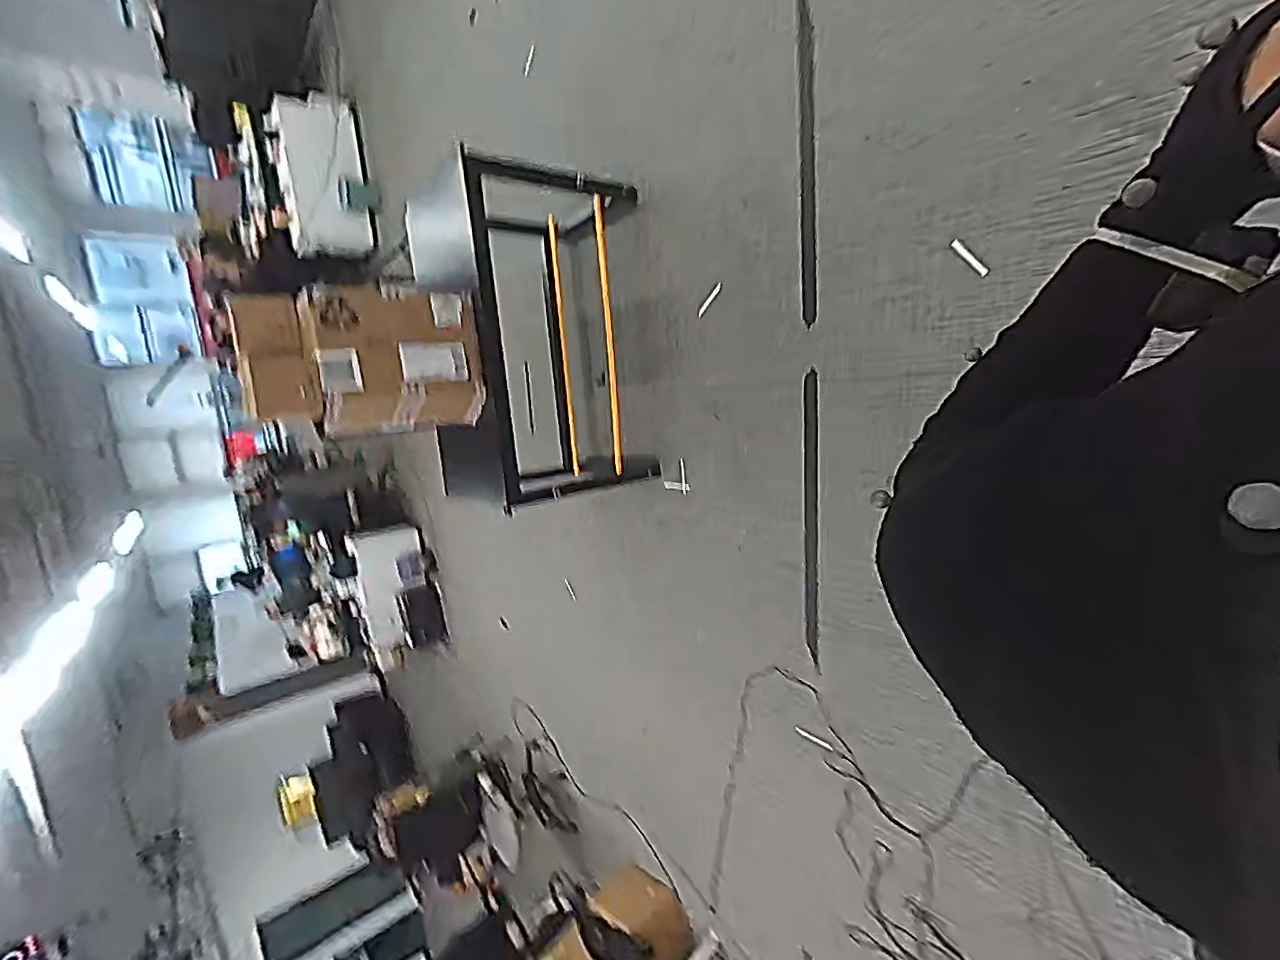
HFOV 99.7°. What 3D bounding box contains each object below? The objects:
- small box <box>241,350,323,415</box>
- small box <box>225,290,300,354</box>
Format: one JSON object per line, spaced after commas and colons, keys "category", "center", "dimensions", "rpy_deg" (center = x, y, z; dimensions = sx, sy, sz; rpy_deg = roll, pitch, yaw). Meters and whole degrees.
{"category": "small box", "center": [-1.033, -0.279, 1.563], "dimensions": [0.179, 0.176, 0.168], "rpy_deg": [1, 100, 49]}
{"category": "small box", "center": [-1.181, -0.490, 1.696], "dimensions": [0.179, 0.176, 0.168], "rpy_deg": [3, 102, 53]}
